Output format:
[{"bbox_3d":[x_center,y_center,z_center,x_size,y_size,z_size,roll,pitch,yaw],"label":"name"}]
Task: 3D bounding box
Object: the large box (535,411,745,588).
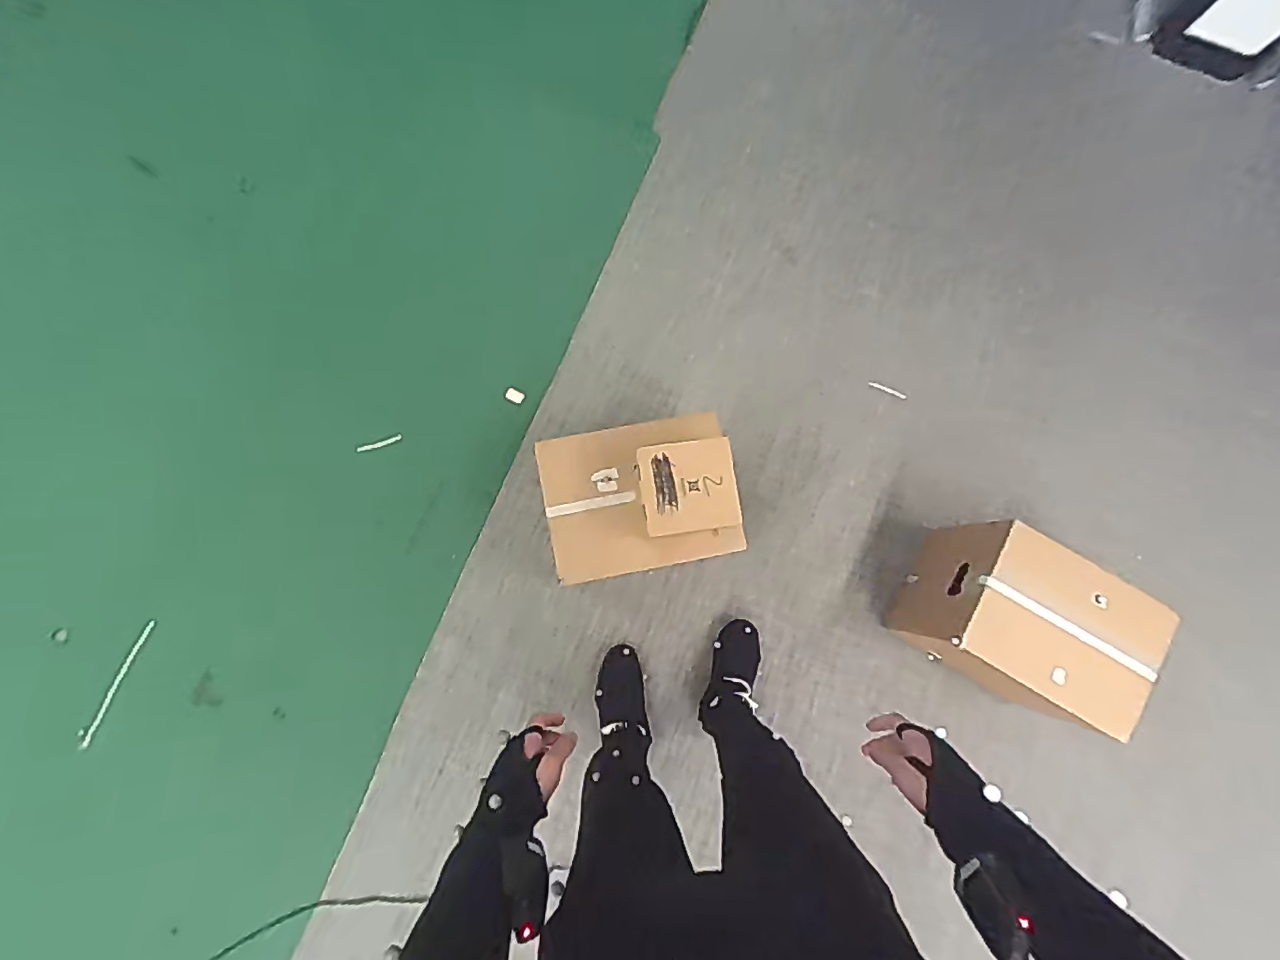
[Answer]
[{"bbox_3d":[-0.005,0.057,1.291,0.408,0.320,0.320,-11,81,-4],"label":"large box"}]
